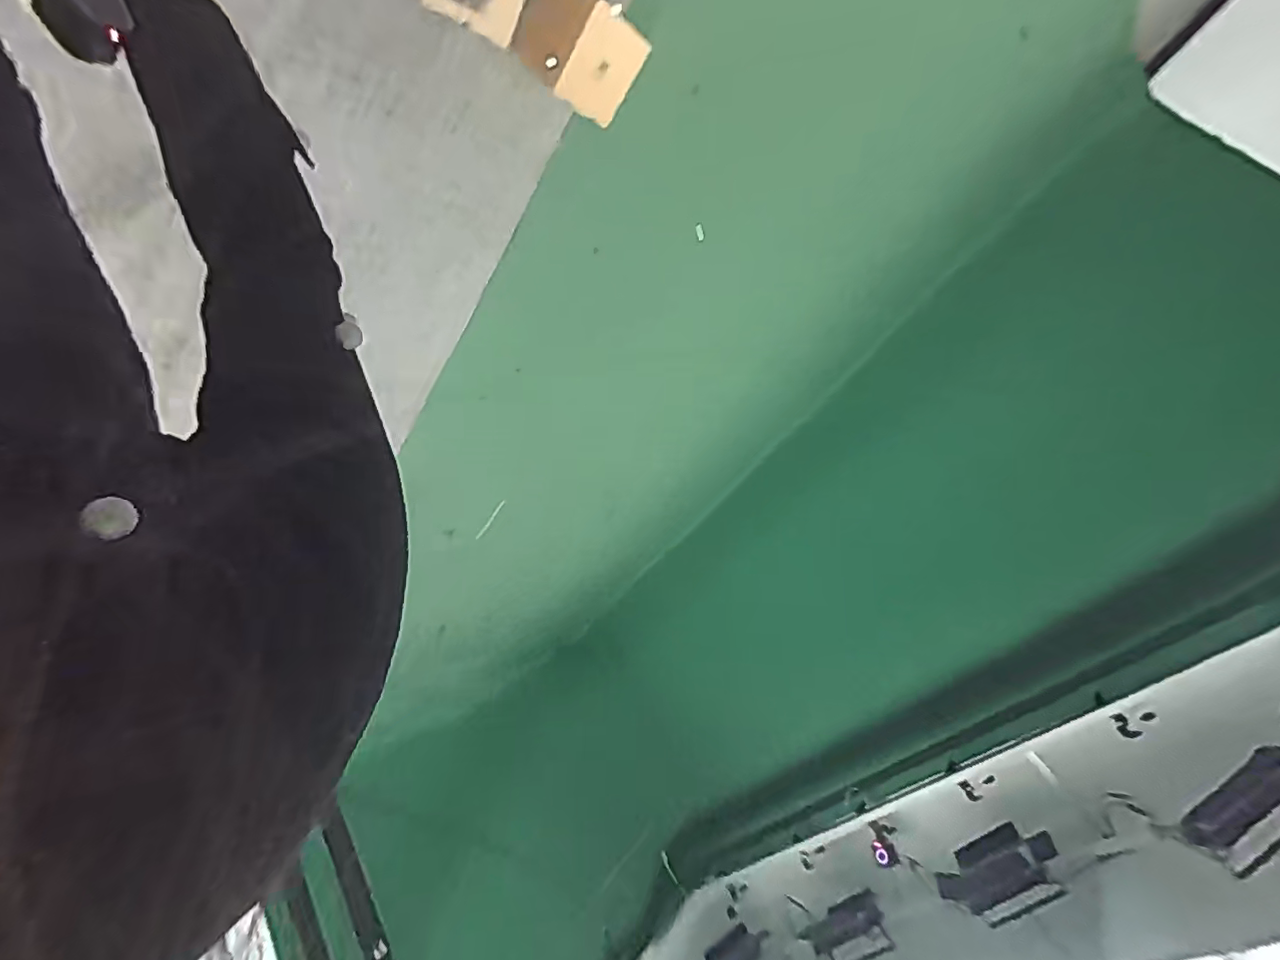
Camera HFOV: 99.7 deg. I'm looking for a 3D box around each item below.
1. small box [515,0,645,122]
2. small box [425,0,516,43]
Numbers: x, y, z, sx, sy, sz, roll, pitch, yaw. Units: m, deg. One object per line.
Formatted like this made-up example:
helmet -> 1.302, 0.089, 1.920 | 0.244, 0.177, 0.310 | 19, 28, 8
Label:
small box -> -0.129, -0.903, 1.119 | 0.168, 0.176, 0.179 | -7, 144, -52
small box -> -0.300, -0.883, 0.882 | 0.168, 0.176, 0.179 | -12, 147, -49
